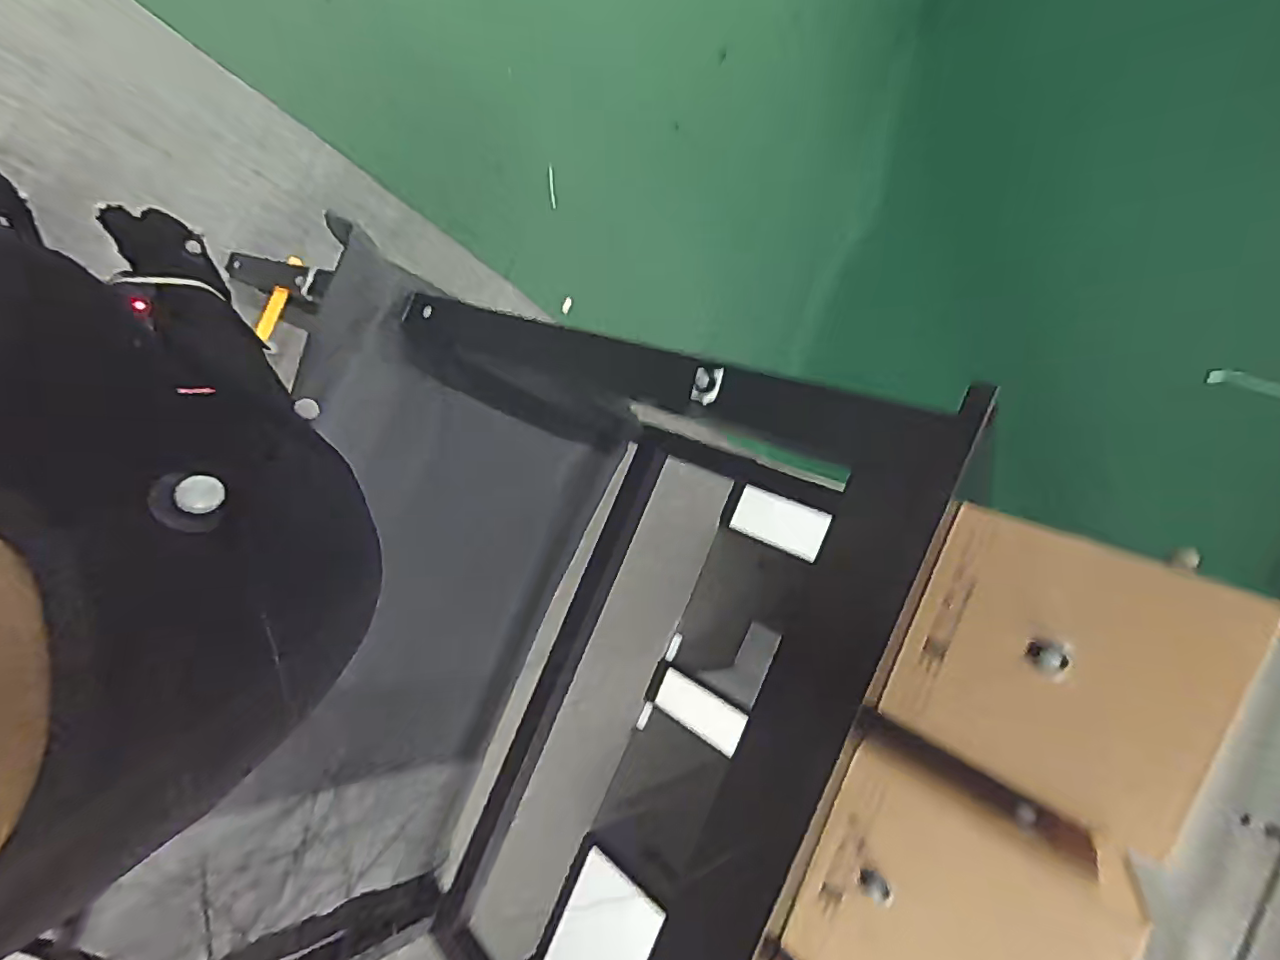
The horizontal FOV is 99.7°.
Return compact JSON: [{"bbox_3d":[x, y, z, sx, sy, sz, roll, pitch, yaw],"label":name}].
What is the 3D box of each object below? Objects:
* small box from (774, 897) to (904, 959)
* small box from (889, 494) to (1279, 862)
[{"bbox_3d":[0.158,0.472,0.403,0.179,0.176,0.168,29,85,-56],"label":"small box"},{"bbox_3d":[0.305,0.118,0.401,0.179,0.176,0.168,12,100,-55],"label":"small box"}]
